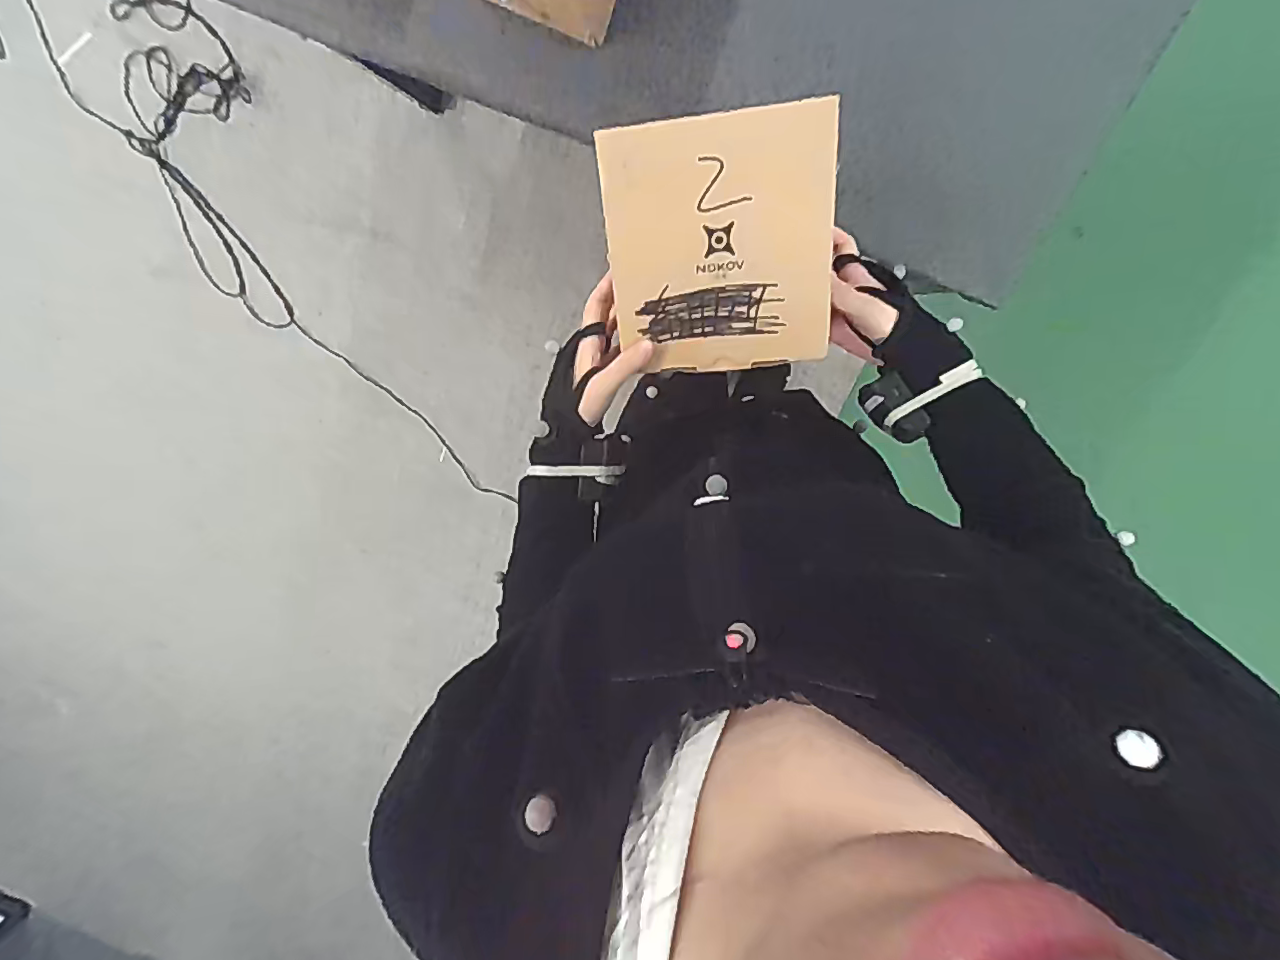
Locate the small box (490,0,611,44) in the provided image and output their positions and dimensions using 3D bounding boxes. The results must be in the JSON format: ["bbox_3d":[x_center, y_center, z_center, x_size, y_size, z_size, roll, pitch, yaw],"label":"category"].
[{"bbox_3d":[-0.099,-0.572,0.508,0.168,0.176,0.179,24,109,-1],"label":"small box"}]
